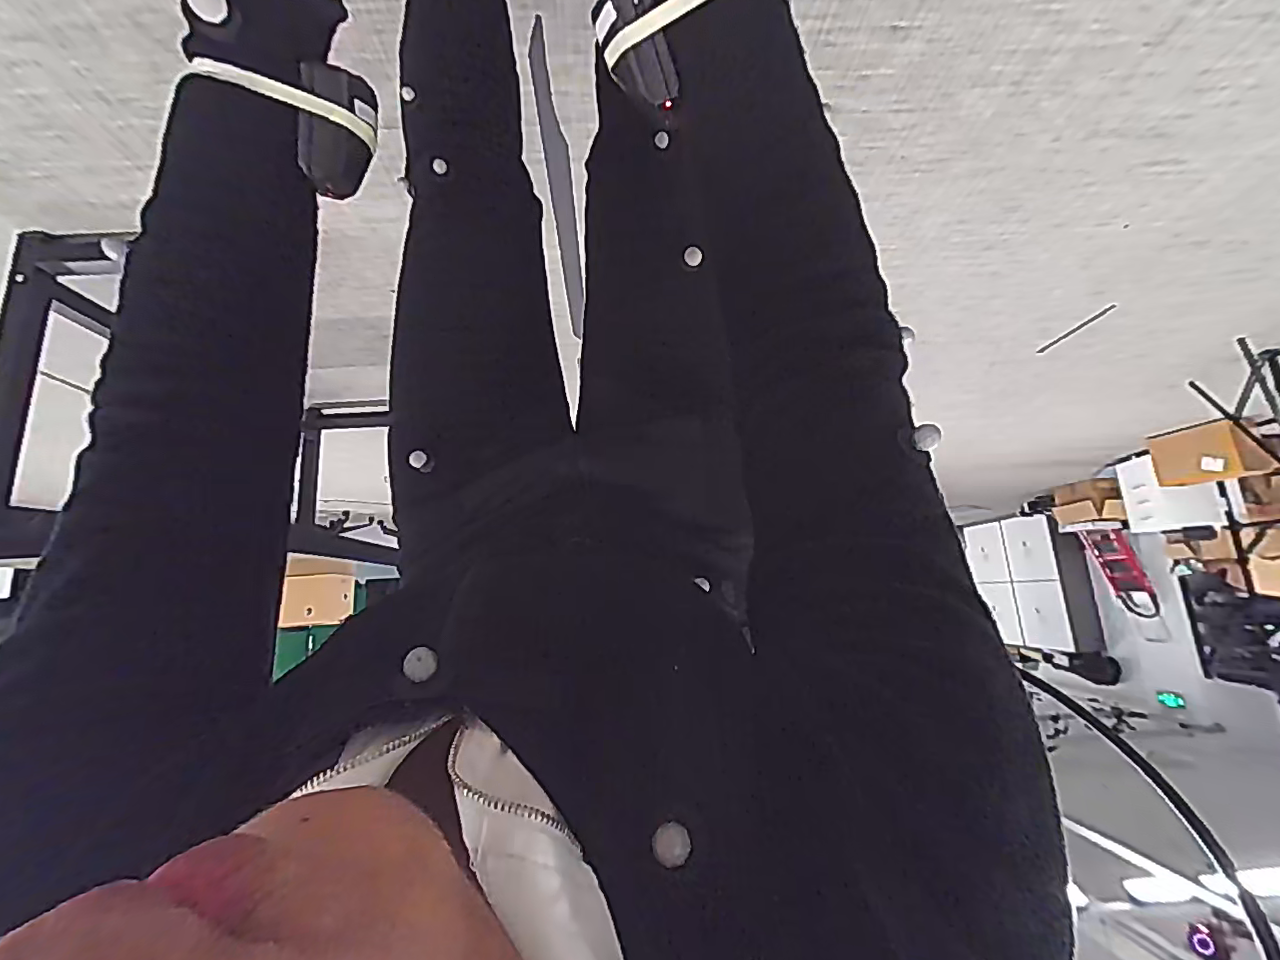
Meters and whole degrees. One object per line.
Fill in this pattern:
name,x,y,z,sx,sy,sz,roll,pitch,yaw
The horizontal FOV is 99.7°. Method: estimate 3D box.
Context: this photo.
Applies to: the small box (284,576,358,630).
small box,-1.114,0.430,1.898,0.179,0.176,0.168,-2,167,-5
